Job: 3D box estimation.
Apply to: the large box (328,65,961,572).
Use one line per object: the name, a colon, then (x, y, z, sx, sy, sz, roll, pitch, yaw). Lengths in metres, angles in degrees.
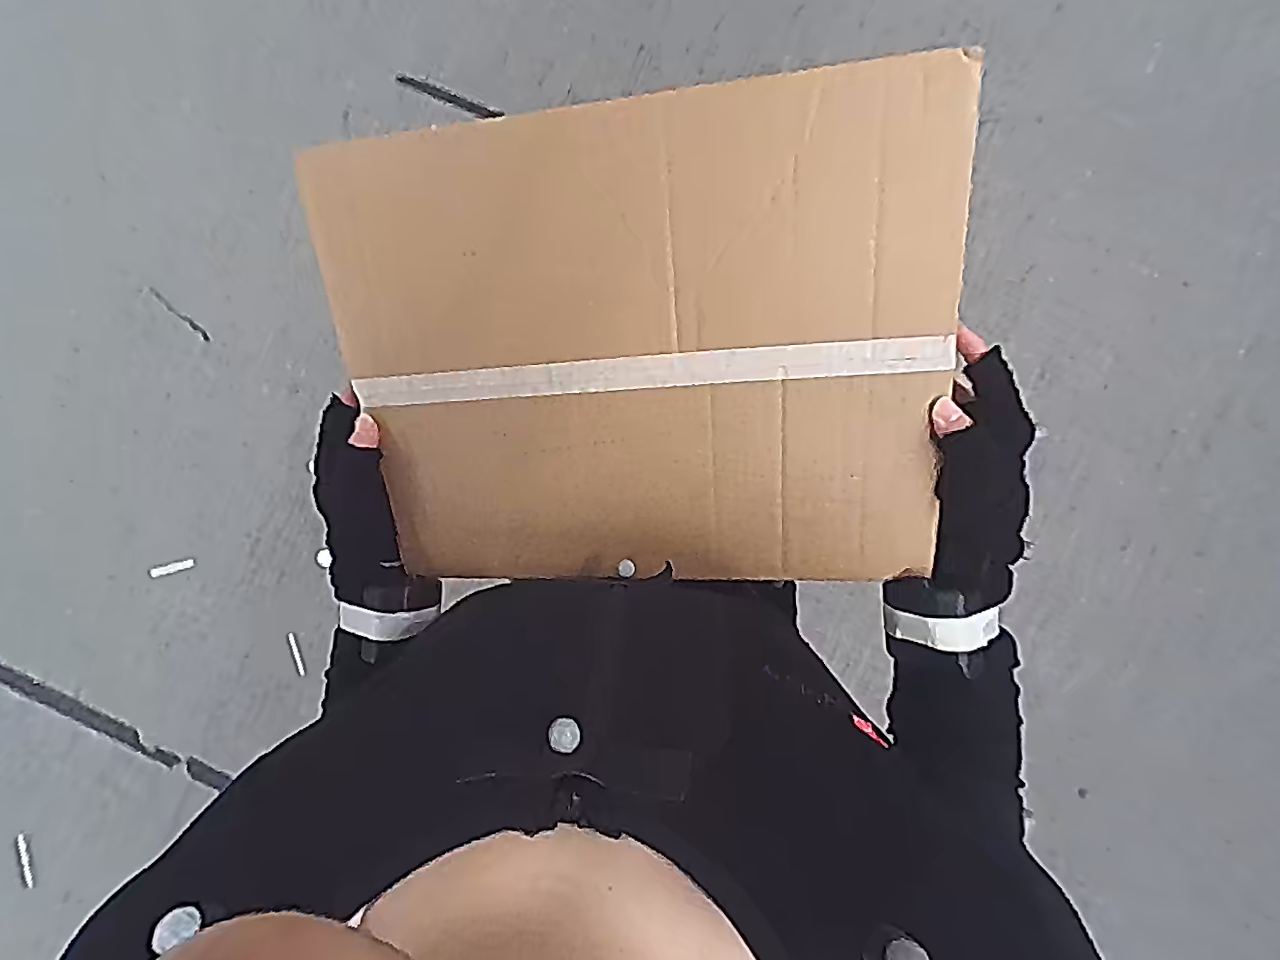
large box: (0.017, -0.125, 0.517, 0.408, 0.320, 0.320, -2, 111, 10)
